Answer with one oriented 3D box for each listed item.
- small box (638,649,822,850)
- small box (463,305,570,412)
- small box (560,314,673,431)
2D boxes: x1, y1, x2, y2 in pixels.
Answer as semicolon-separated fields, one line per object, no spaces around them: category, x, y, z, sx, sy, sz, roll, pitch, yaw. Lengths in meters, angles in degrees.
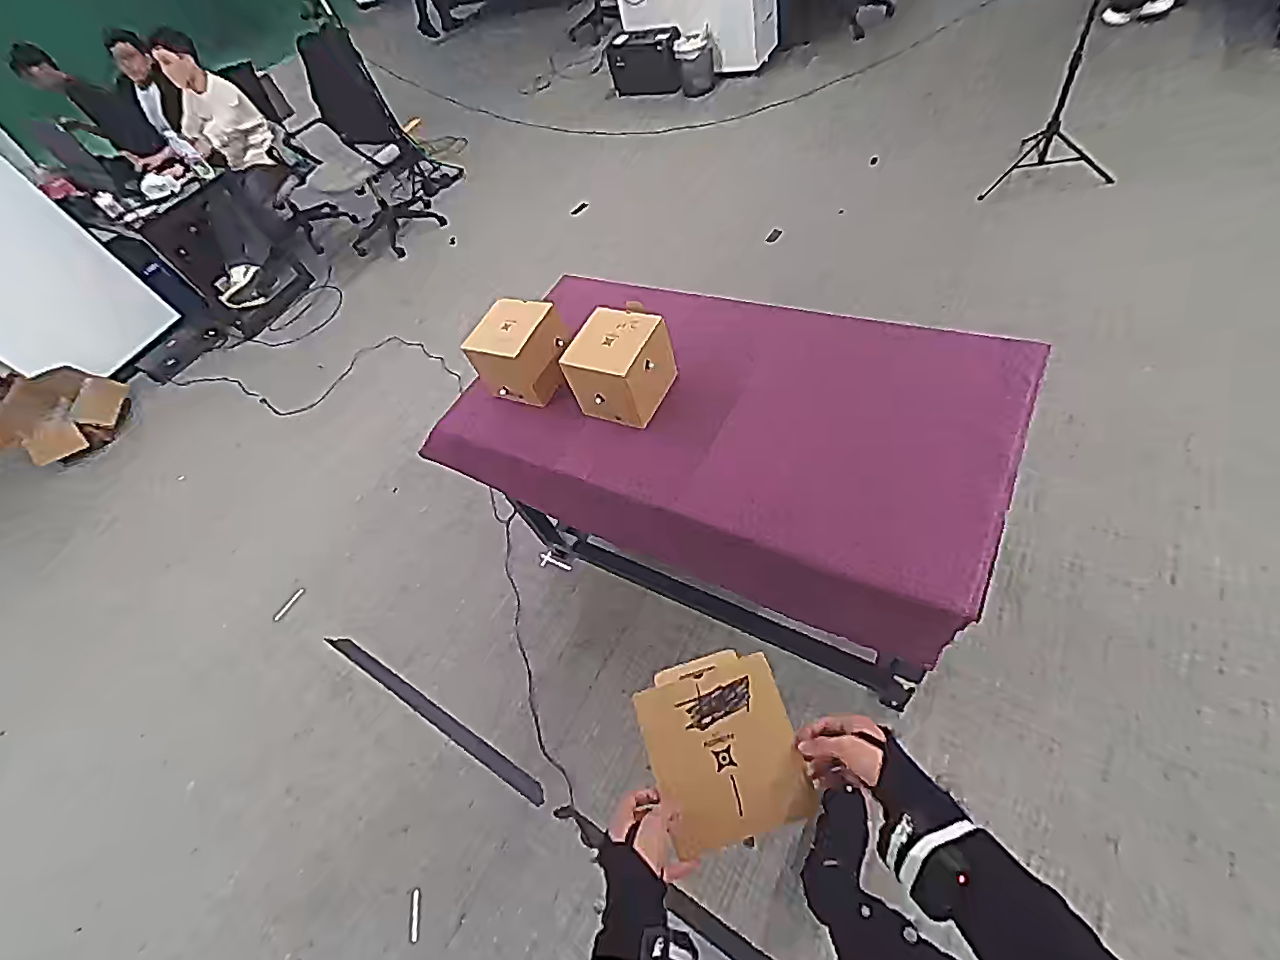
small box;0.107;0.340;0.688;0.168;0.176;0.179;-19;60;0
small box;-0.283;-0.293;1.305;0.168;0.176;0.179;15;61;26
small box;-0.042;-0.233;1.188;0.168;0.176;0.179;17;62;26
